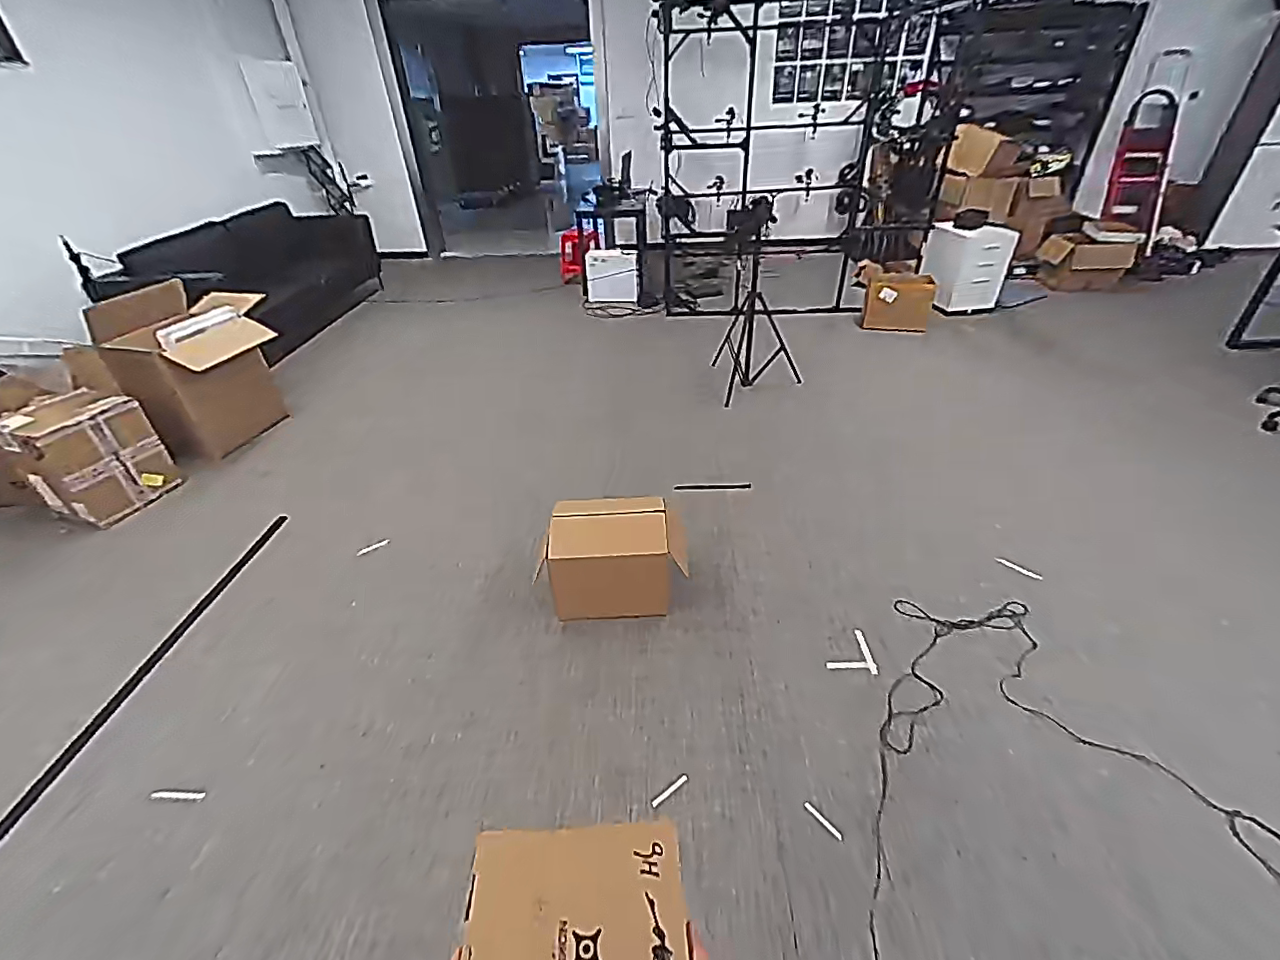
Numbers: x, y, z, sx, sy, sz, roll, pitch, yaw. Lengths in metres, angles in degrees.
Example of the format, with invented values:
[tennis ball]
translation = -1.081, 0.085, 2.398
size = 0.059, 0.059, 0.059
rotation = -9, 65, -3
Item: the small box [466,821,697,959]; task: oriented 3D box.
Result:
[small box]
translation = -0.044, 0.415, 0.460
size = 0.179, 0.176, 0.168
rotation = -2, 41, -3
